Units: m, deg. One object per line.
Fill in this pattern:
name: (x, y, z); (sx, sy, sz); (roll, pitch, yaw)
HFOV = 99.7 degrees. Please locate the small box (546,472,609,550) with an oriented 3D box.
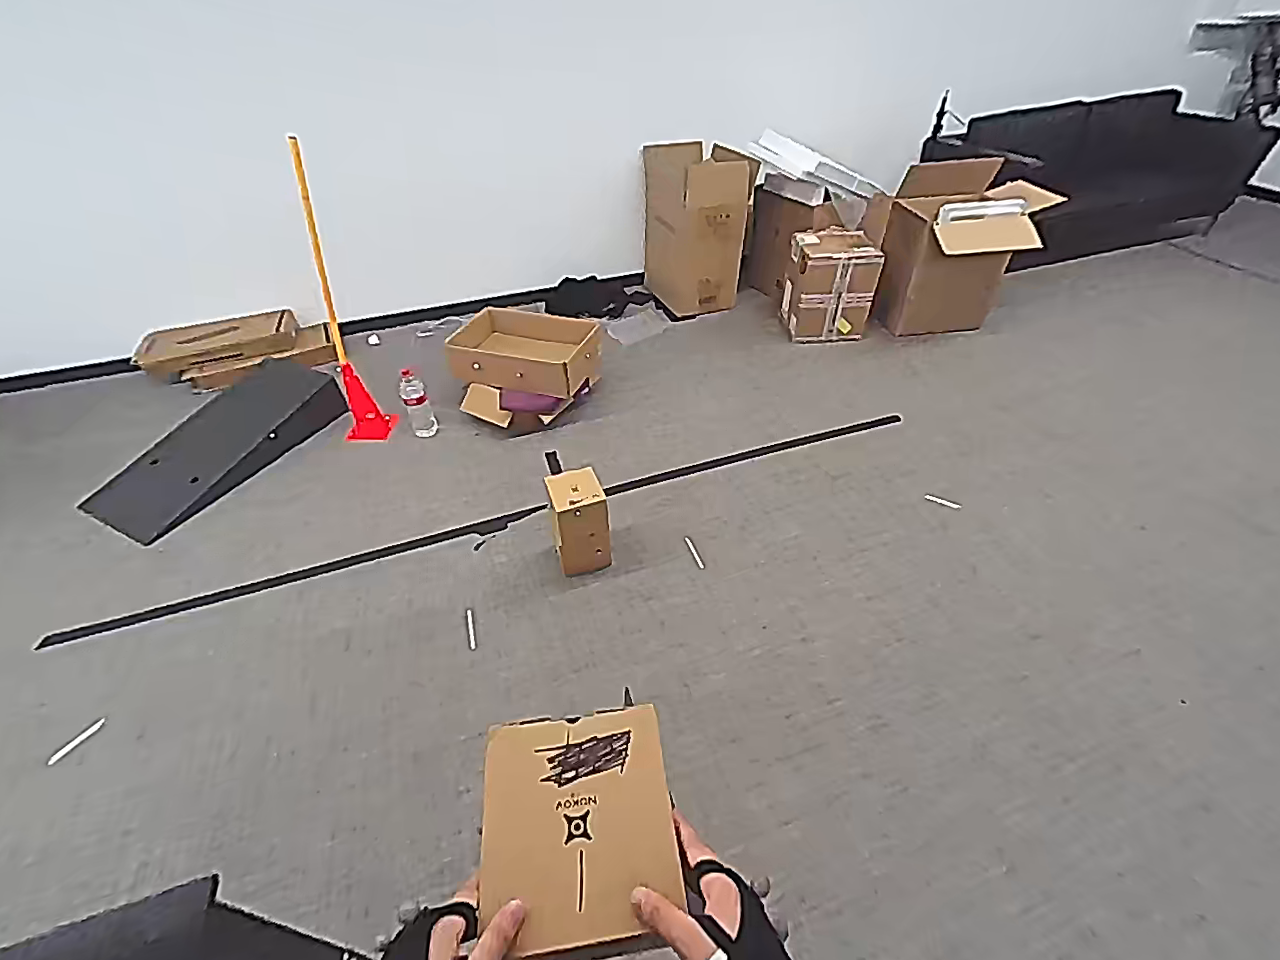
small box: (-0.207, 0.103, 1.801); (0.168, 0.176, 0.179); (-16, 42, -14)

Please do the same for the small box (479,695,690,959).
small box: (-0.054, 0.342, 0.528); (0.168, 0.176, 0.179); (-8, 44, -7)

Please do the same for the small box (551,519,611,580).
small box: (-0.204, 0.225, 1.911); (0.179, 0.176, 0.168); (-15, 42, -13)
